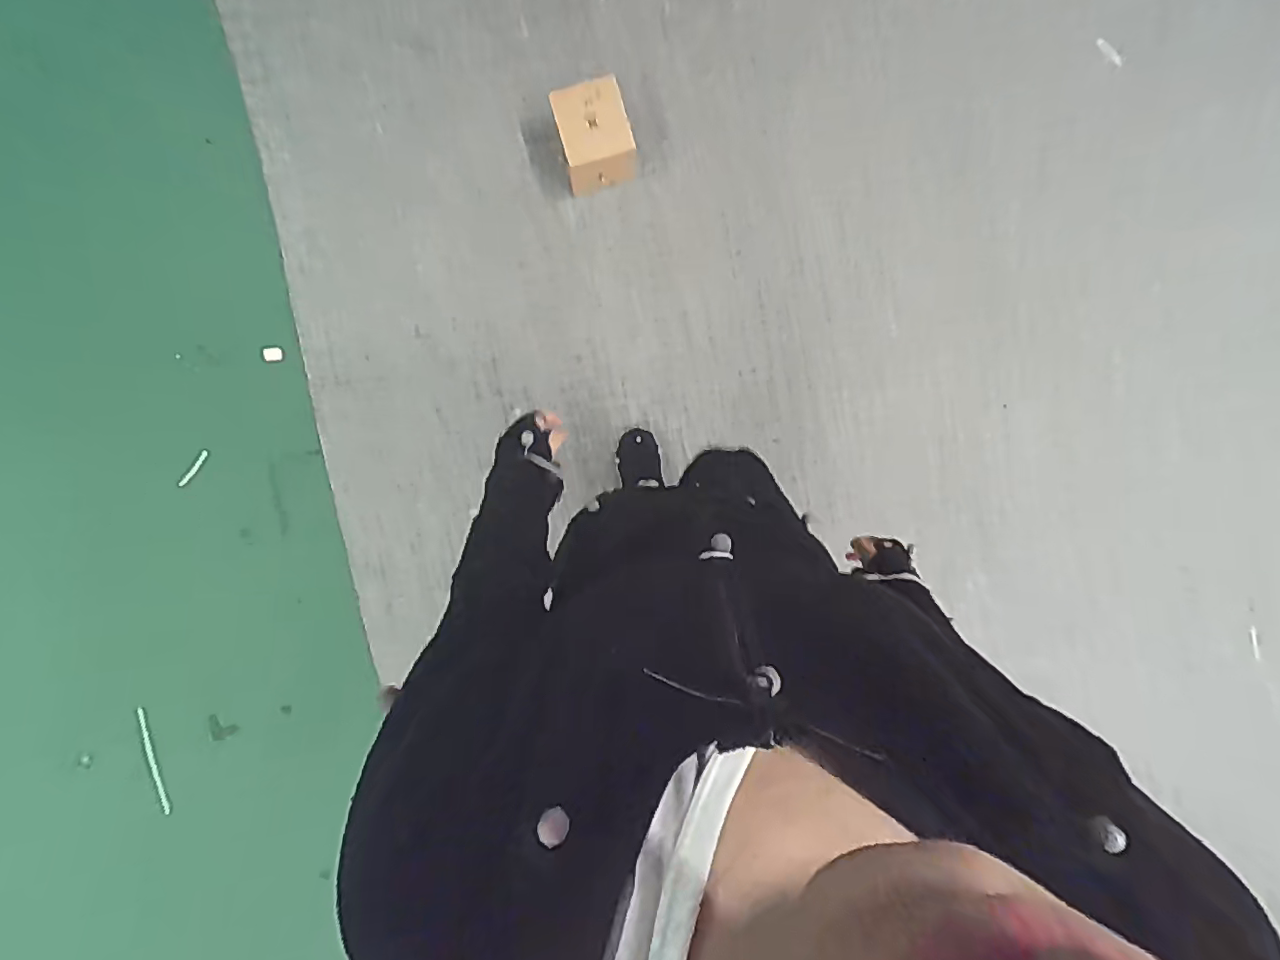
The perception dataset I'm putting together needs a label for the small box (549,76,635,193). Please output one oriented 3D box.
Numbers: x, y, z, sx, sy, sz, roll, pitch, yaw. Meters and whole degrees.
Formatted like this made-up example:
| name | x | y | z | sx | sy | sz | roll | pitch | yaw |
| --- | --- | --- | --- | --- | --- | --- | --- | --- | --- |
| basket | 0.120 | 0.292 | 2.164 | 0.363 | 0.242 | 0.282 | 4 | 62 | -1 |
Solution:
| name | x | y | z | sx | sy | sz | roll | pitch | yaw |
| --- | --- | --- | --- | --- | --- | --- | --- | --- | --- |
| small box | -0.114 | -0.845 | 1.346 | 0.168 | 0.176 | 0.179 | -17 | 95 | -1 |
